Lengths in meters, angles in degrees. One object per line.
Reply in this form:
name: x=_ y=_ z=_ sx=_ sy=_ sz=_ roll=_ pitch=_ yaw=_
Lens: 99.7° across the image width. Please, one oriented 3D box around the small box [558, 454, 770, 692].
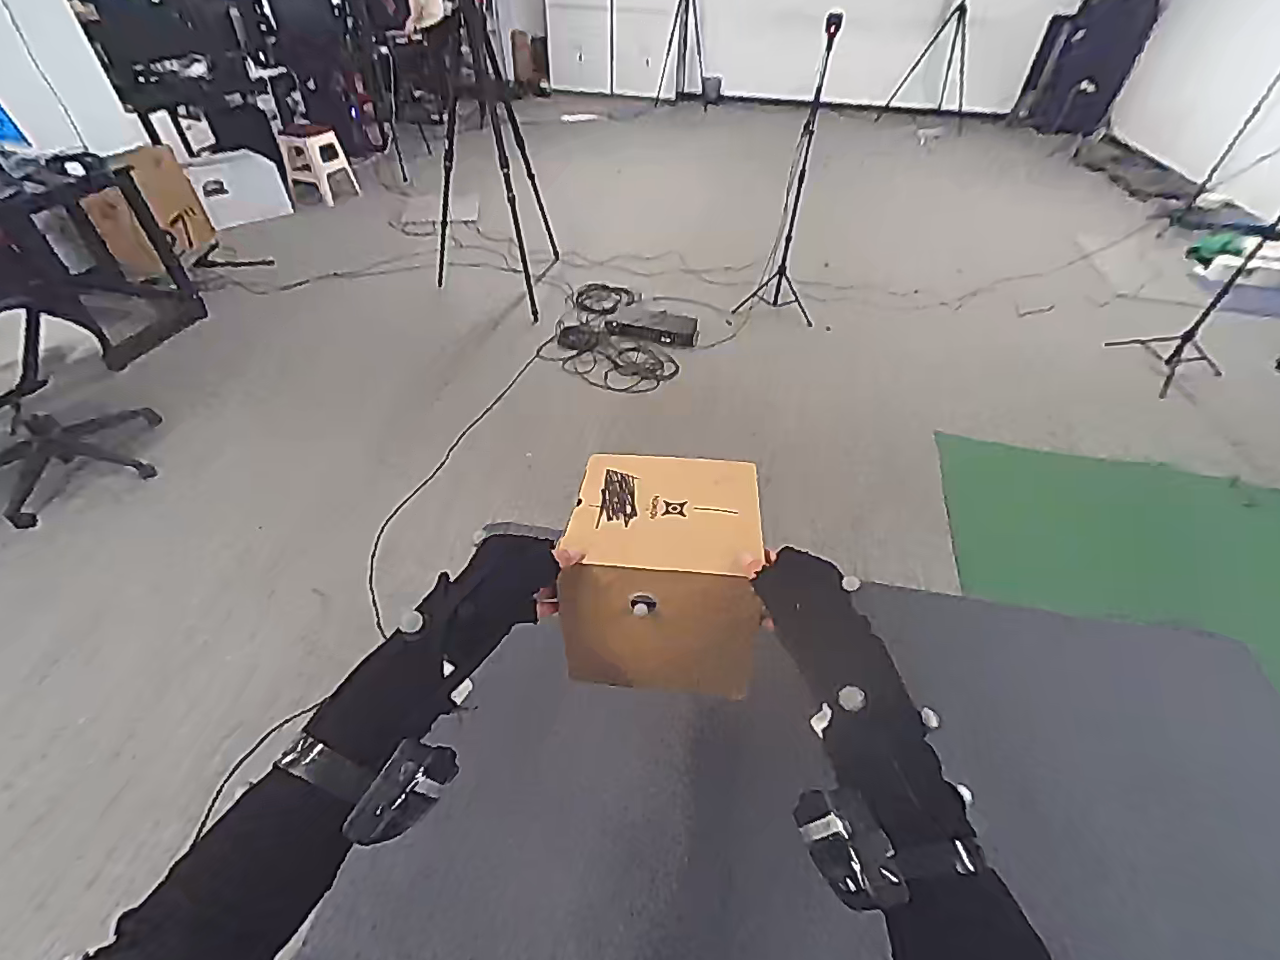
small box: x=0.029 y=0.091 z=0.543 sx=0.179 sy=0.176 sz=0.168 roll=4 pitch=36 yaw=6
